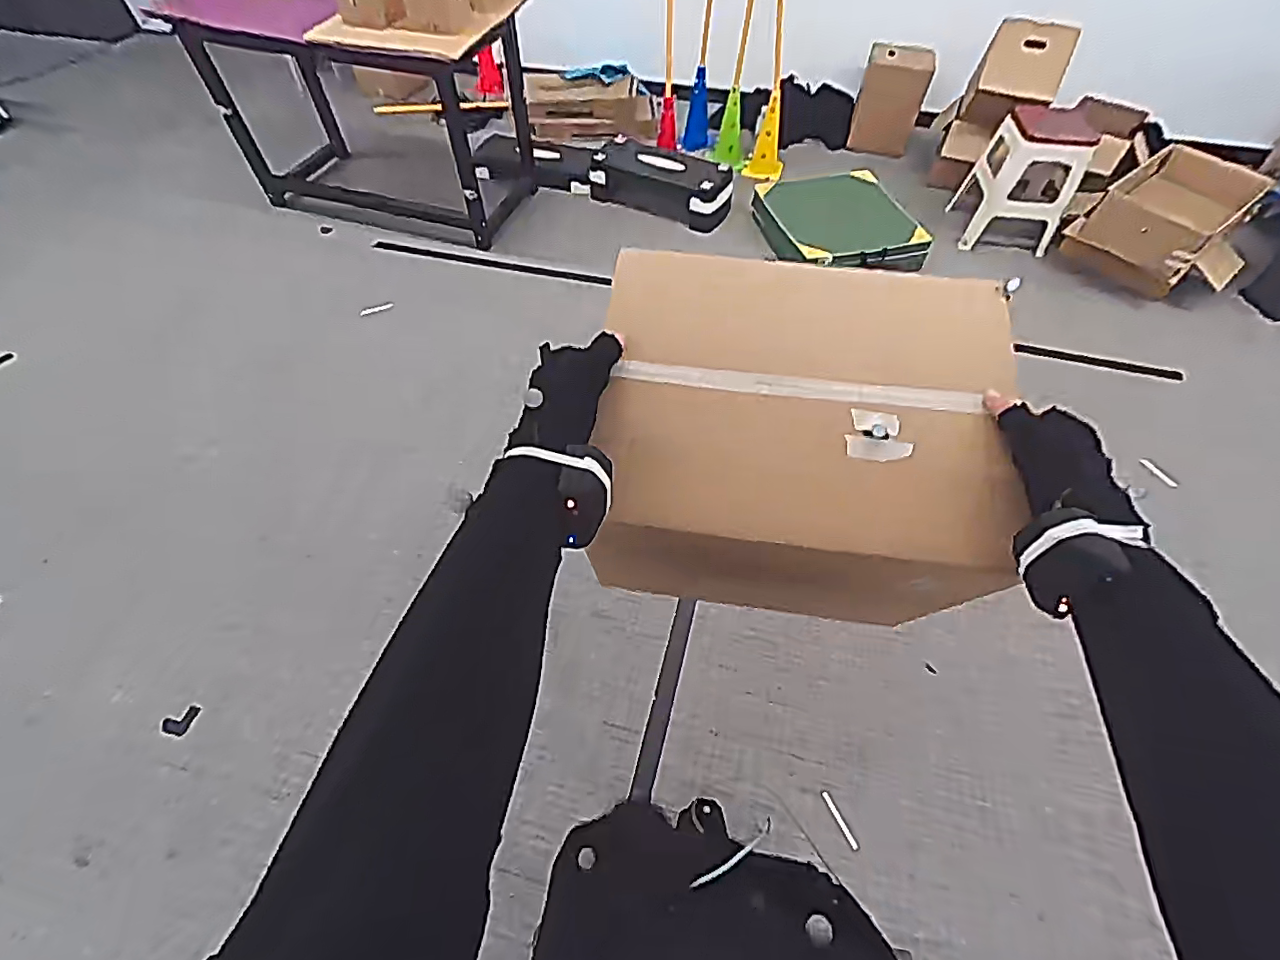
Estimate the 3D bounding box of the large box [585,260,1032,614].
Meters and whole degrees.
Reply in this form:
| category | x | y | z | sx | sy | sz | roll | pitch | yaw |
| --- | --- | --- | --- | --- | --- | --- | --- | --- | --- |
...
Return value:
| category | x | y | z | sx | sy | sz | roll | pitch | yaw |
| --- | --- | --- | --- | --- | --- | --- | --- | --- | --- |
| large box | 0.166 | -0.031 | 0.673 | 0.408 | 0.320 | 0.320 | 7 | 69 | 5 |
